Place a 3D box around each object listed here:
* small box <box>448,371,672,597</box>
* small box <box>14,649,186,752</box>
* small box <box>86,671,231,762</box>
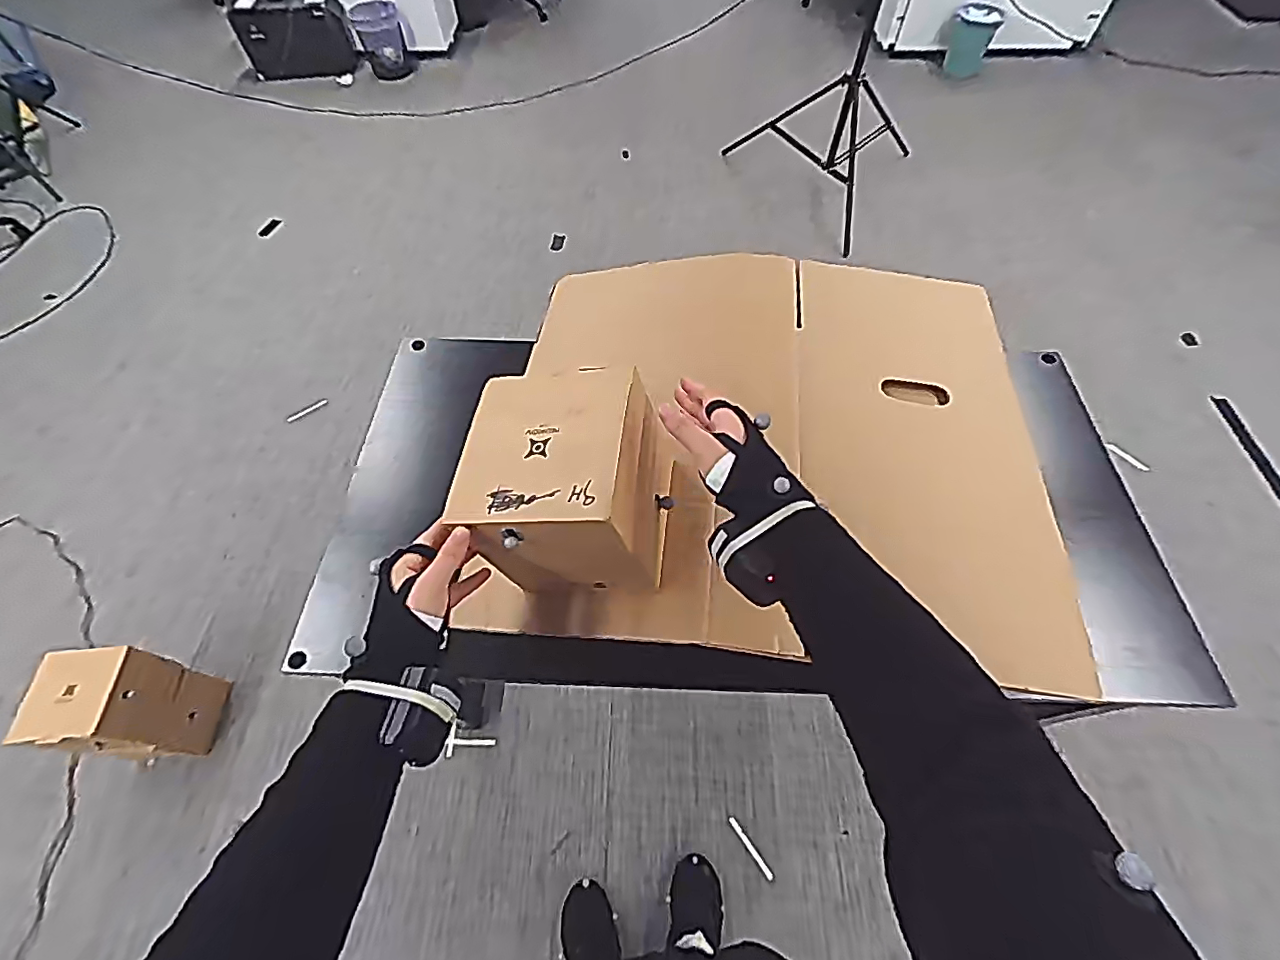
[{"bbox_3d":[-0.067,0.010,0.578,0.168,0.176,0.179,-3,56,17],"label":"small box"},{"bbox_3d":[-1.127,0.474,1.149,0.168,0.176,0.179,-4,57,-3],"label":"small box"},{"bbox_3d":[-1.123,0.565,1.284,0.168,0.176,0.179,-2,59,0],"label":"small box"}]
